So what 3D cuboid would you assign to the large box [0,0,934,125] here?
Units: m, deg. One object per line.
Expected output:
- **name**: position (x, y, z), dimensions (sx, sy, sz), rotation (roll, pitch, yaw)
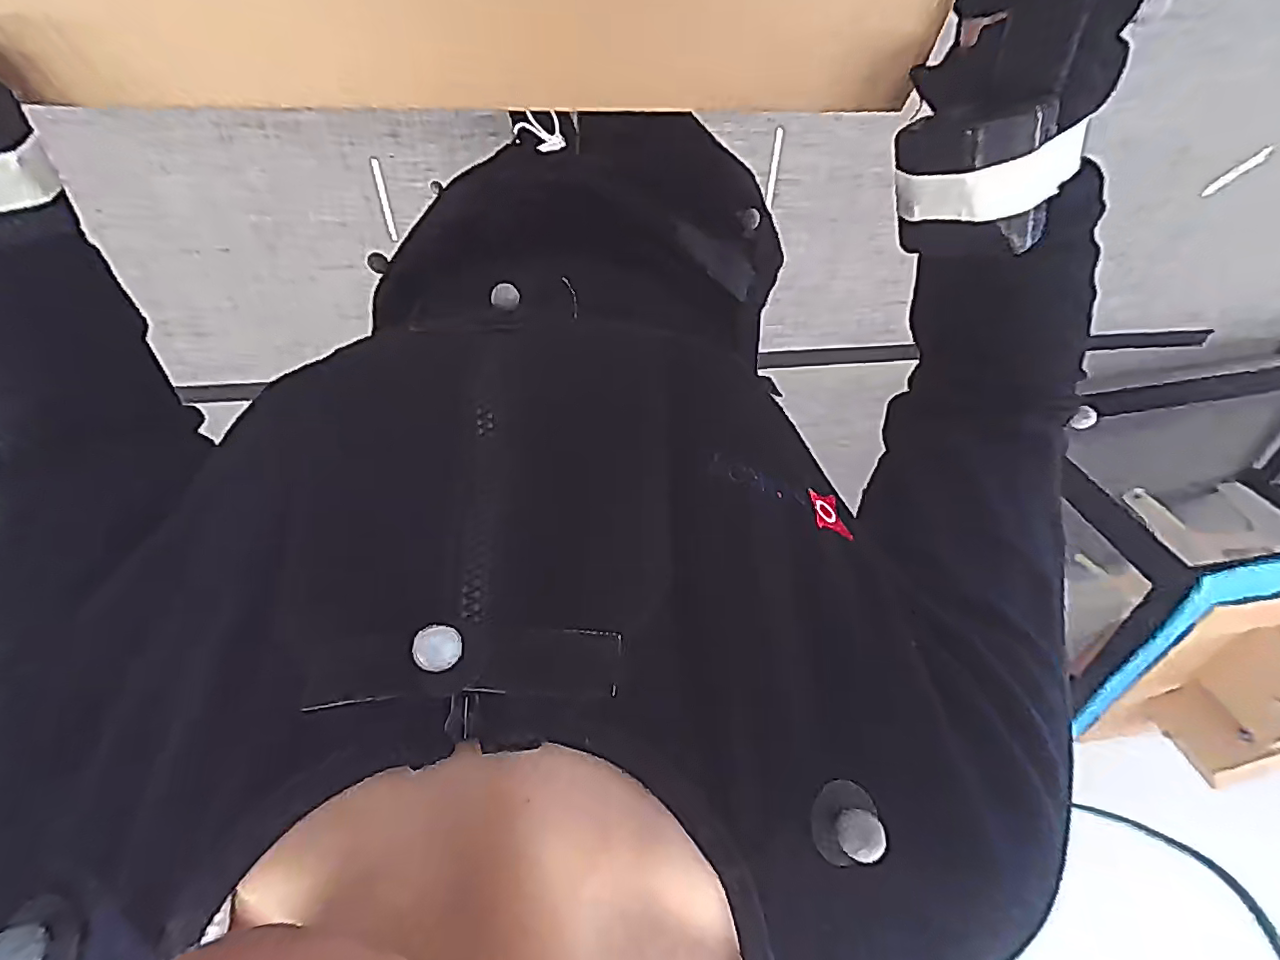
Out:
- **large box**: position (-0.076, -0.374, 0.185), dimensions (0.408, 0.320, 0.320), rotation (-3, 155, -5)
